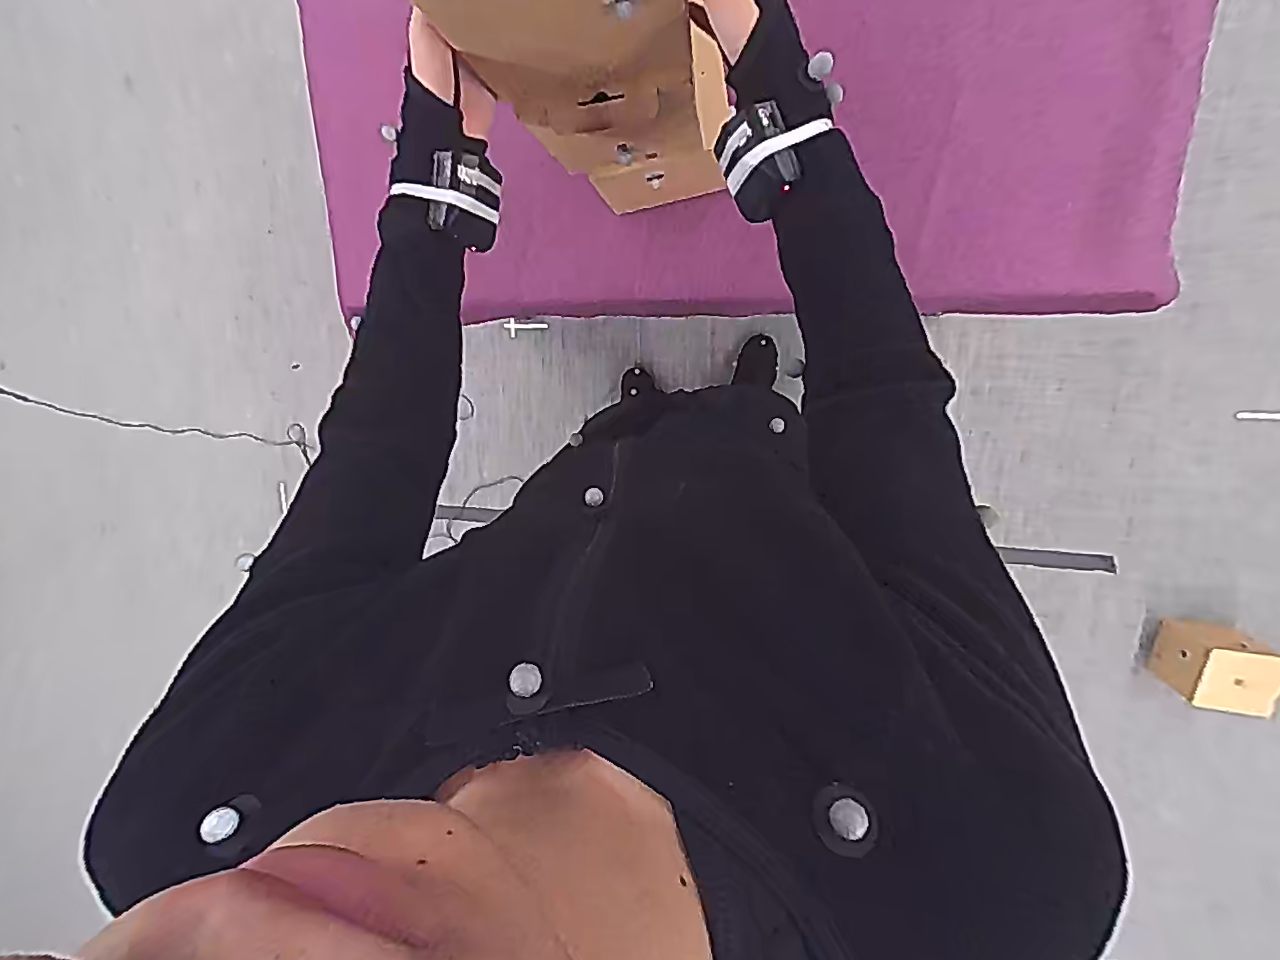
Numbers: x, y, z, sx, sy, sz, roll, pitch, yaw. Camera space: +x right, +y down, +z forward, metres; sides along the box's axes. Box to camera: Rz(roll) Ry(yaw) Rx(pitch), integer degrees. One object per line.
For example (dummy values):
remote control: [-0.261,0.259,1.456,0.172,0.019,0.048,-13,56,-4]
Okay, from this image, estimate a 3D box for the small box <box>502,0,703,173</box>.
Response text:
small box: [-0.027,-0.438,0.541,0.168,0.176,0.179,-2,102,12]

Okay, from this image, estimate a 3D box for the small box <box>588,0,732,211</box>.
small box: [0.022,-0.468,0.697,0.179,0.176,0.168,-8,102,11]

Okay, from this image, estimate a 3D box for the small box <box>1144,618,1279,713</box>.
small box: [1.502,0.482,1.429,0.179,0.176,0.168,6,104,8]
